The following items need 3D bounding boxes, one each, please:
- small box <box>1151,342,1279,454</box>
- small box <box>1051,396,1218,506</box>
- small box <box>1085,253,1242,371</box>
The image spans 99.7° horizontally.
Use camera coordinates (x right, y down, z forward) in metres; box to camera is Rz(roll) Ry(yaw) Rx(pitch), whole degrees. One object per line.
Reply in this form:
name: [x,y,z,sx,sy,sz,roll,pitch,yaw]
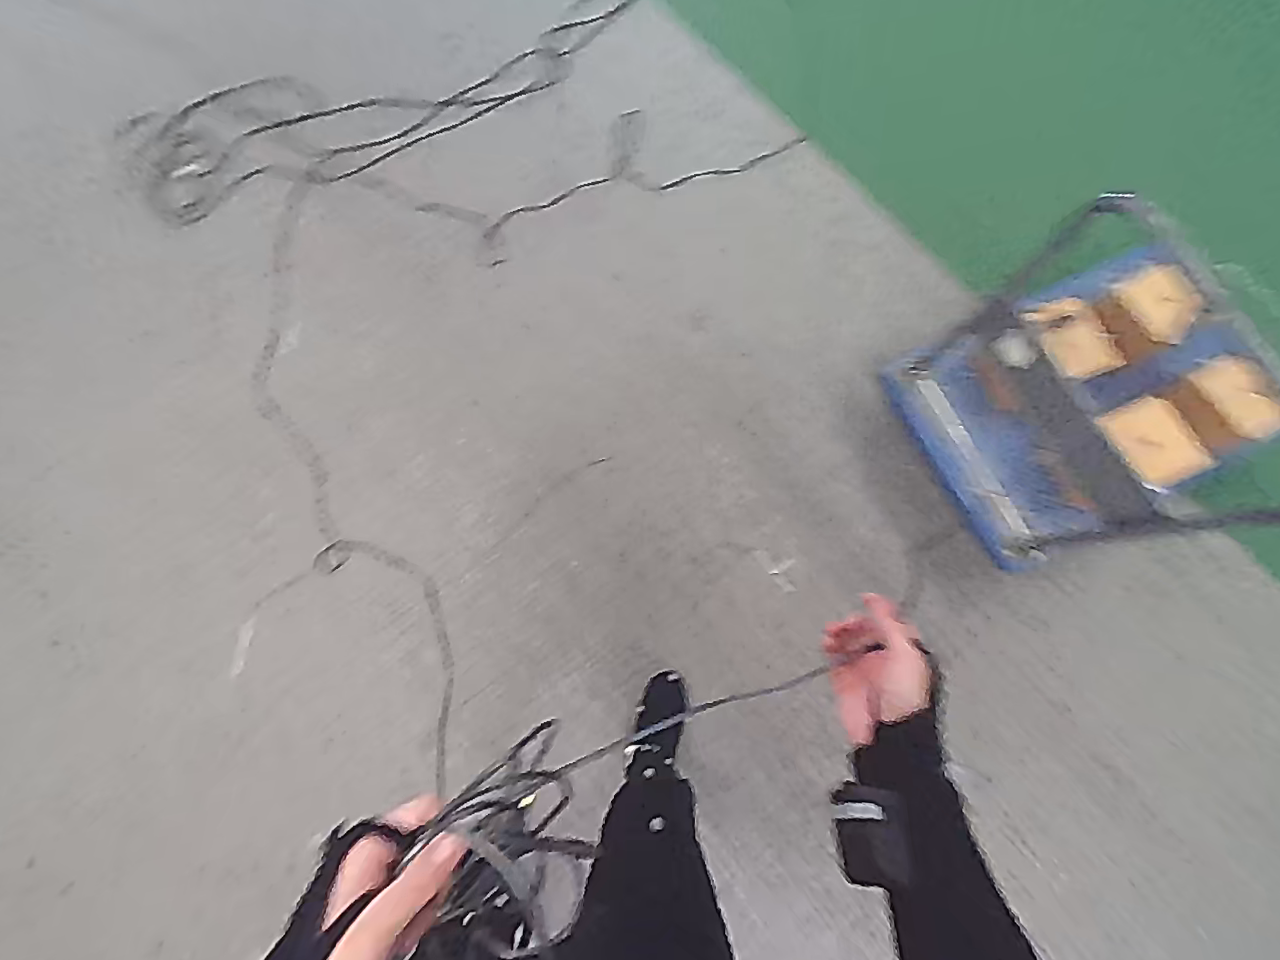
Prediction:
small box: [1.326,-0.171,1.213,0.179,0.176,0.168,-29,77,-3]
small box: [1.081,-0.057,1.199,0.179,0.176,0.168,-24,77,-3]
small box: [1.204,-0.385,1.267,0.179,0.176,0.168,-28,78,-4]
